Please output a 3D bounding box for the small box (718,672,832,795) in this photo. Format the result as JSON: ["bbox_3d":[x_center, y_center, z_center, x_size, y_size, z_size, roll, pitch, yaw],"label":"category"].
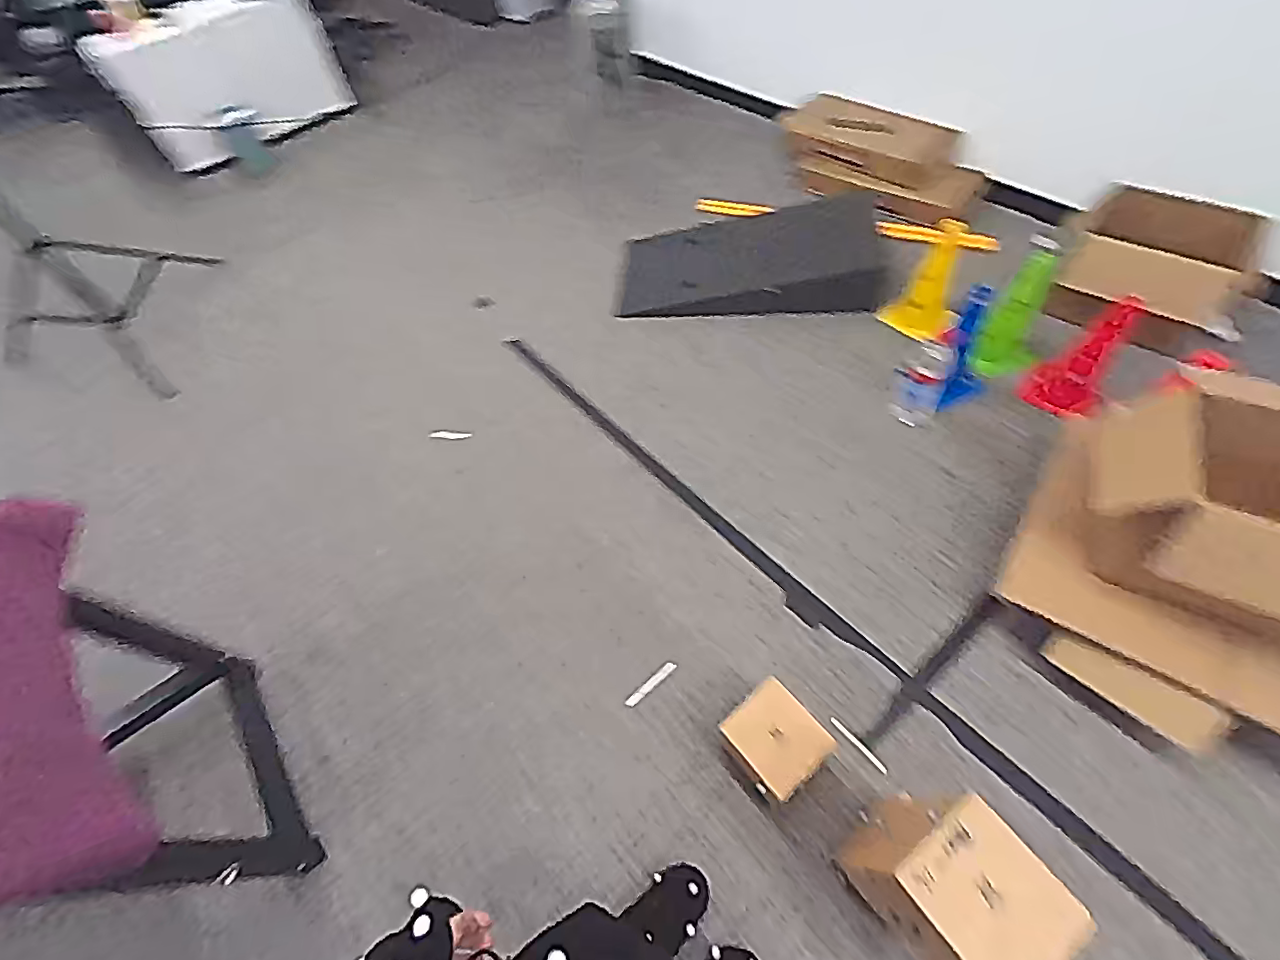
[{"bbox_3d":[0.283,0.558,1.182,0.168,0.176,0.179,-38,62,-17],"label":"small box"}]

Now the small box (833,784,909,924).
[{"bbox_3d":[0.498,0.728,1.048,0.179,0.176,0.168,-38,62,-18],"label":"small box"}]

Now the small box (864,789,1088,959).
[{"bbox_3d":[0.454,0.568,0.764,0.168,0.176,0.179,-34,61,-14],"label":"small box"}]

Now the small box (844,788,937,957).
[{"bbox_3d":[0.472,0.653,0.903,0.168,0.176,0.179,-37,62,-16],"label":"small box"}]
